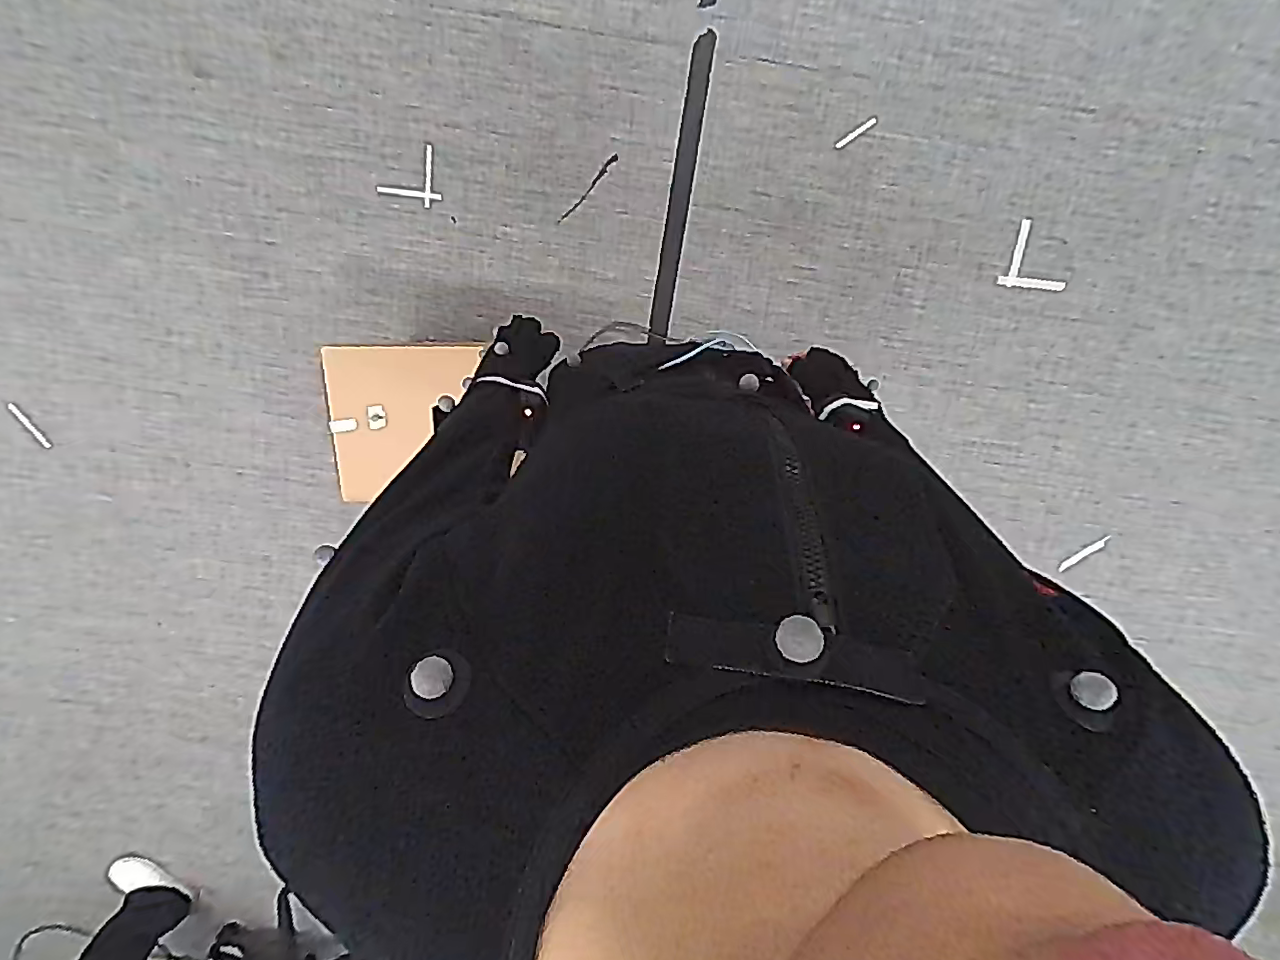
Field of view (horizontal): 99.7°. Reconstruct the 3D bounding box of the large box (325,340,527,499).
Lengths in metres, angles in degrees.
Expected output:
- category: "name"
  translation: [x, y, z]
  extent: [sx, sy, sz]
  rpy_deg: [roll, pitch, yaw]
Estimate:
- category: "large box"
  translation: [-0.458, -0.161, 1.258]
  extent: [0.320, 0.408, 0.320]
  rpy_deg: [1, 106, -2]
